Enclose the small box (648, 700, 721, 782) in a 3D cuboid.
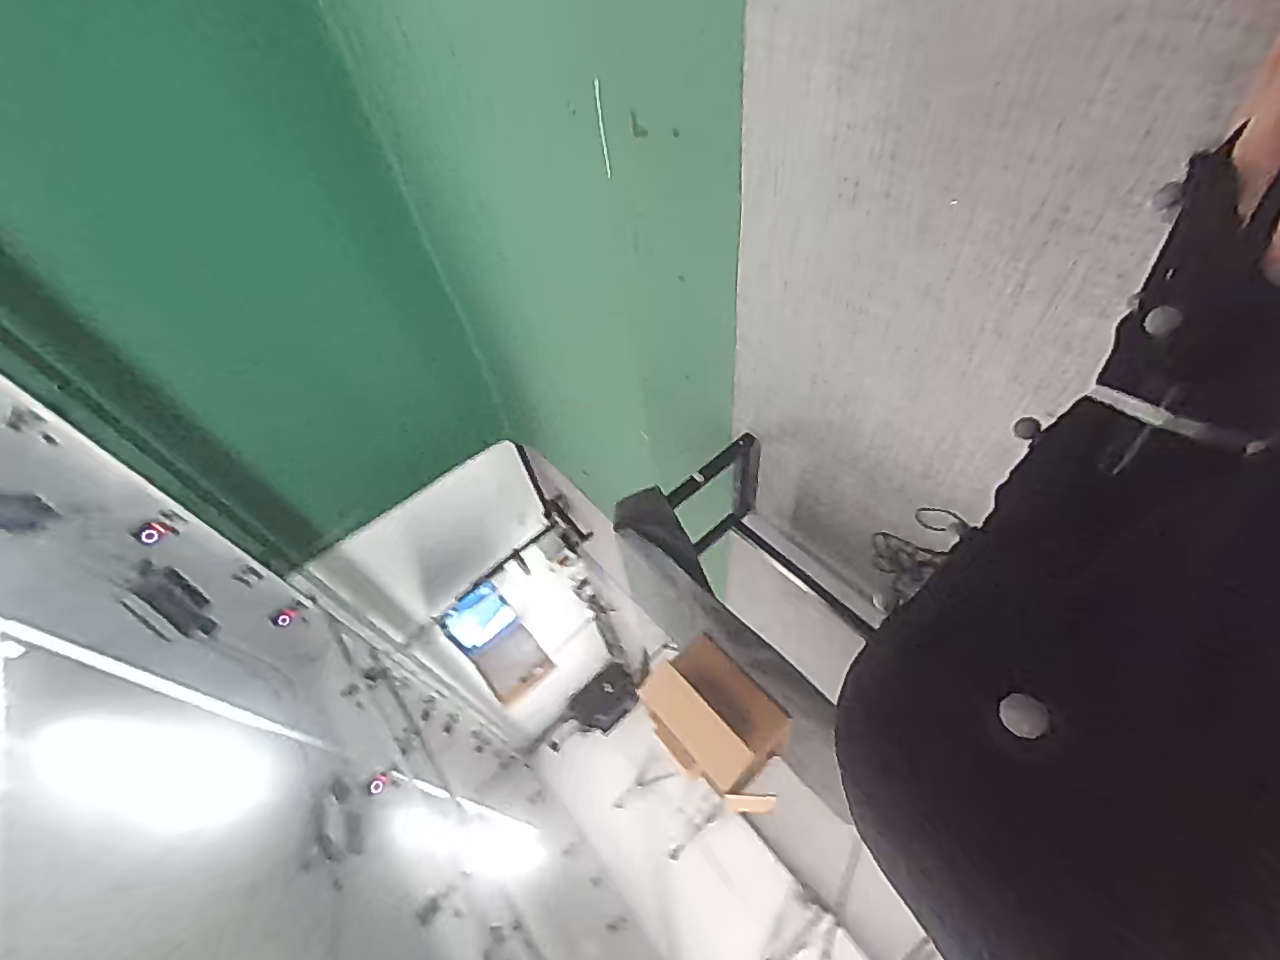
[{"bbox_3d":[0.151,0.873,1.825,0.179,0.176,0.168,40,156,32],"label":"small box"}]
